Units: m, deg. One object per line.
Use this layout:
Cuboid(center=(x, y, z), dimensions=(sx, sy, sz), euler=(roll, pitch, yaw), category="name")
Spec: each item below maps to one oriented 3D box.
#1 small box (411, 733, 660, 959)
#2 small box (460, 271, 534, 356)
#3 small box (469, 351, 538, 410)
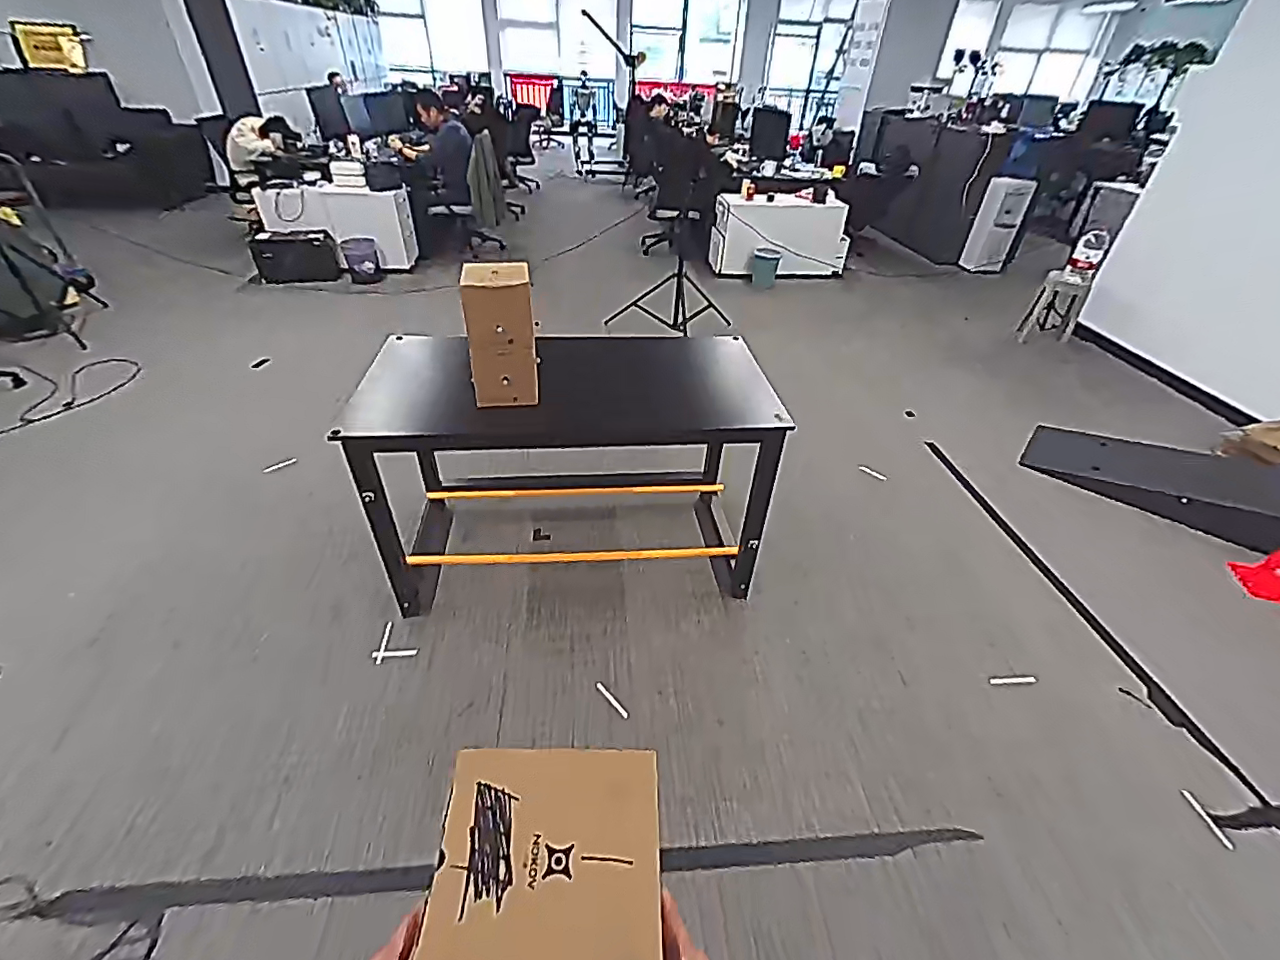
Cuboid(center=(-0.075, 0.346, 0.482), dimensions=(0.179, 0.176, 0.168), euler=(2, 41, -2), category="small box")
Cuboid(center=(-0.371, -0.439, 1.422), dimensions=(0.168, 0.176, 0.179), euler=(-6, 38, -10), category="small box")
Cuboid(center=(-0.377, -0.305, 1.519), dimensions=(0.168, 0.176, 0.179), euler=(-5, 38, -9), category="small box")
